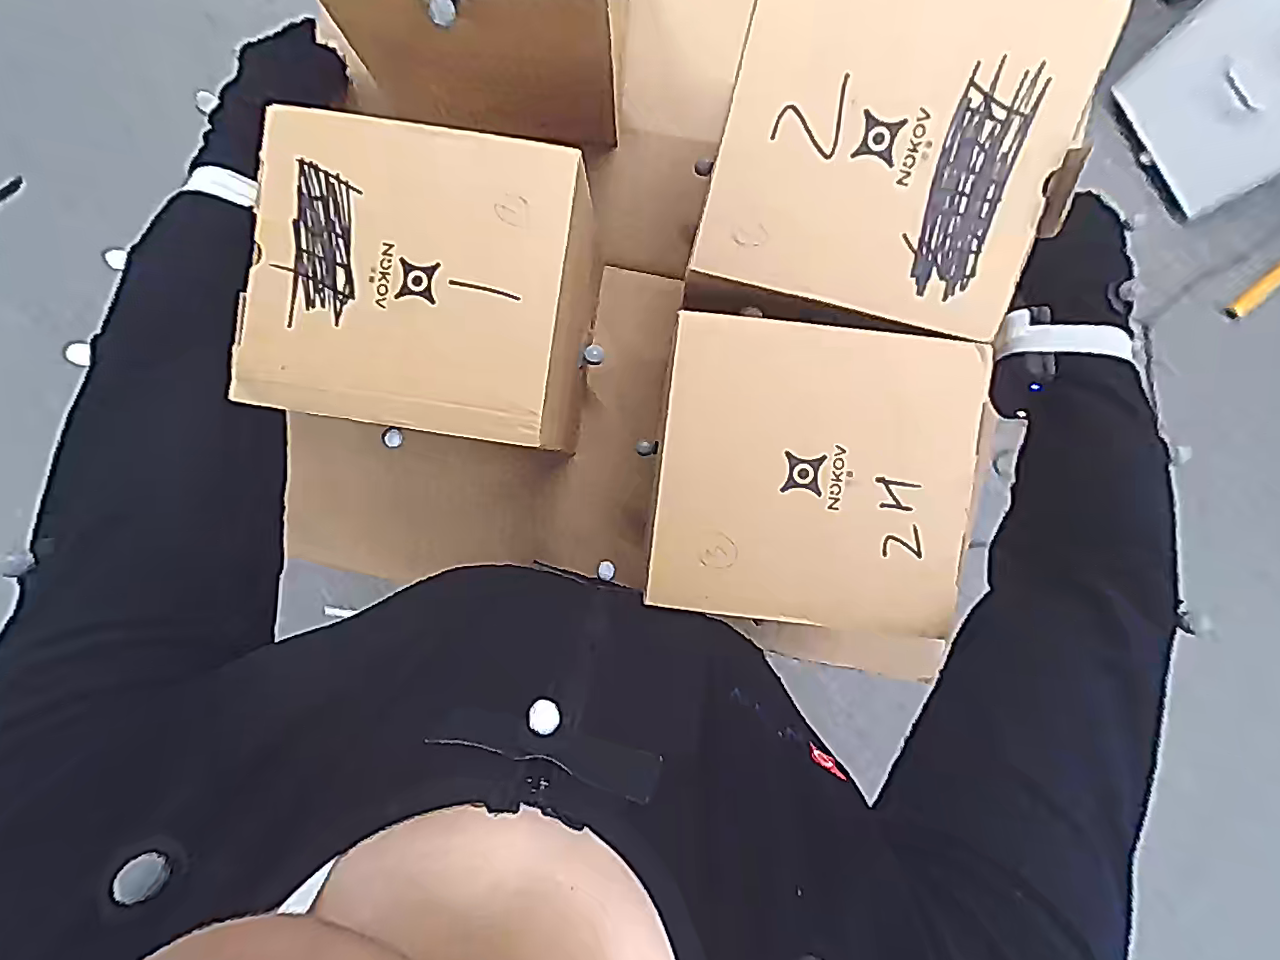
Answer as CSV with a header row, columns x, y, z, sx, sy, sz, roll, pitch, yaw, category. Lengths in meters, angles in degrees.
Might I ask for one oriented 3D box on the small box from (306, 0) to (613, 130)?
x,y,z,sx,sy,sz,roll,pitch,yaw,category
-0.106,-0.358,0.346,0.179,0.176,0.168,4,91,1,small box
